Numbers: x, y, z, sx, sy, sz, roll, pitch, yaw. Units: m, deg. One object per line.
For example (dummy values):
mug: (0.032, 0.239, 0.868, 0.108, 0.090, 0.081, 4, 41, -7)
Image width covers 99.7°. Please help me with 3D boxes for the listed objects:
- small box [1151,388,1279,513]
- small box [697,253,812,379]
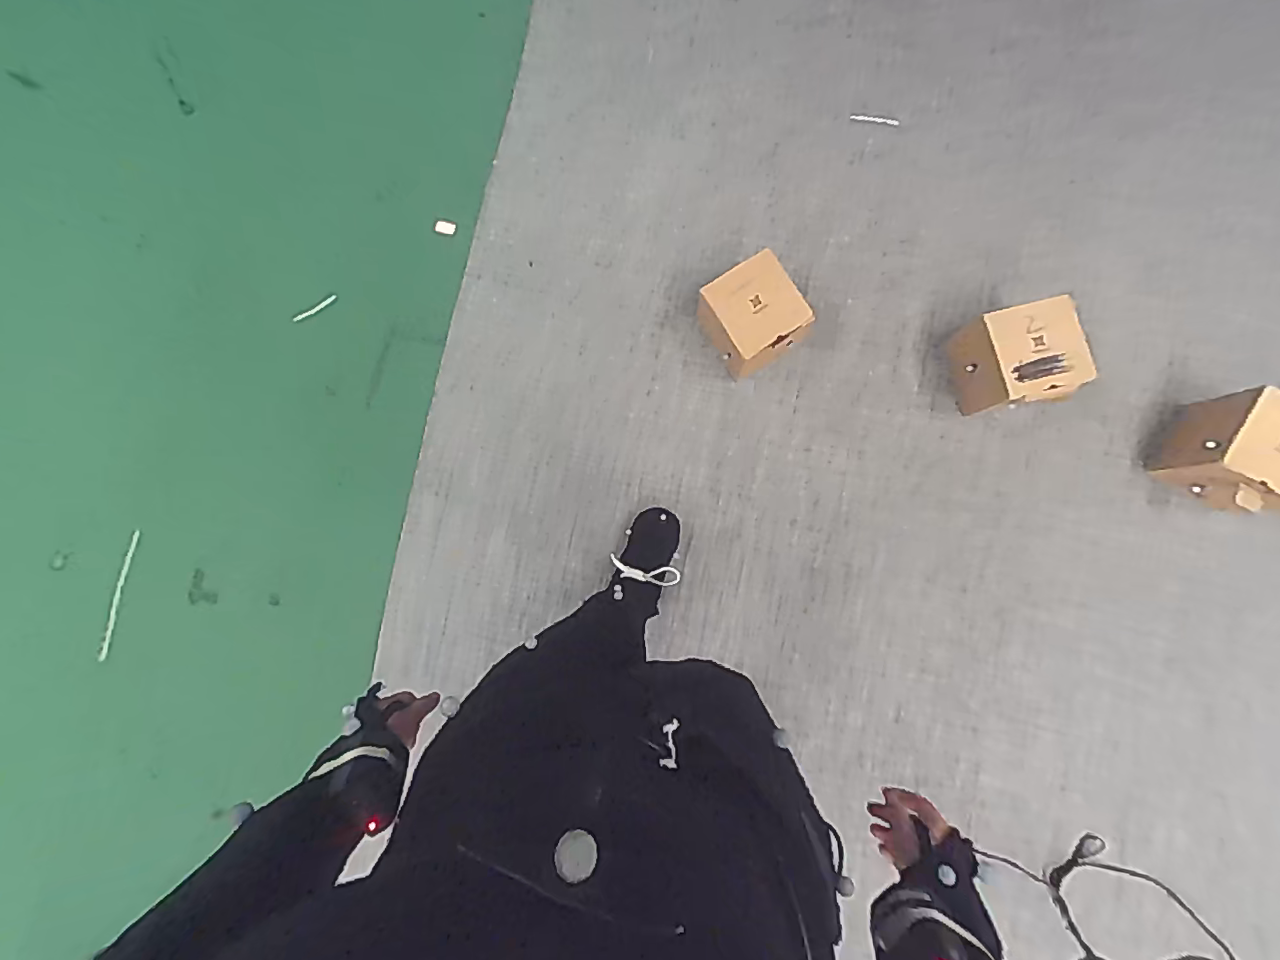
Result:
small box: (1.177, -0.050, 1.060, 0.168, 0.176, 0.179, 31, 88, 6)
small box: (0.234, -0.333, 1.149, 0.168, 0.176, 0.179, -32, 83, 0)
